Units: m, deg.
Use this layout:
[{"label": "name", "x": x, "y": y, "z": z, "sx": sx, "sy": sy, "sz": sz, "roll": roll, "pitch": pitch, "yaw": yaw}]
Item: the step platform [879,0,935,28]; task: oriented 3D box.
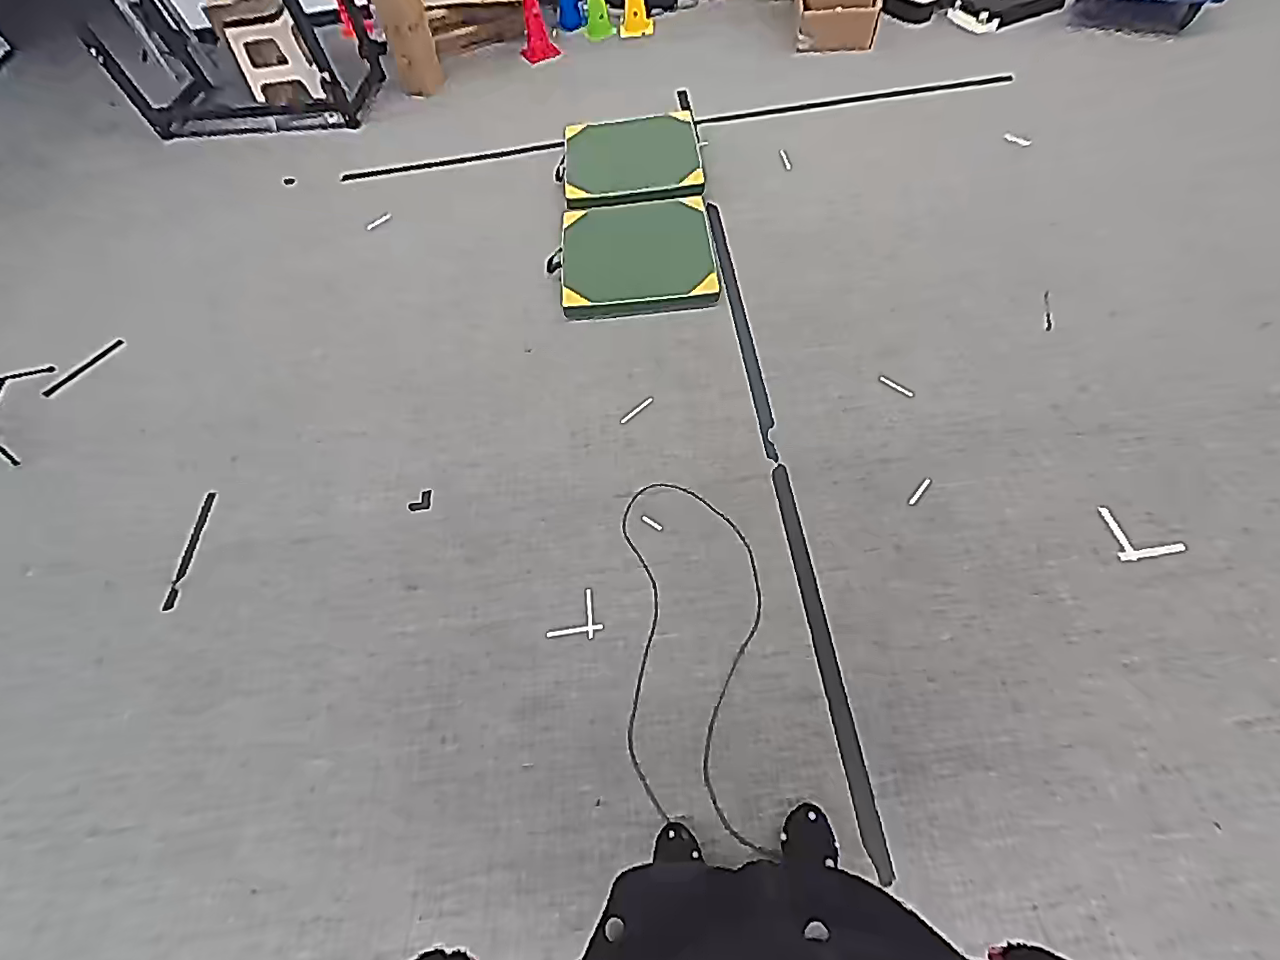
[{"label": "step platform", "x": 1.705, "y": -2.815, "z": 3.058, "sx": 0.684, "sy": 0.204, "sz": 0.286, "roll": -33, "pitch": 62, "yaw": -12}]
